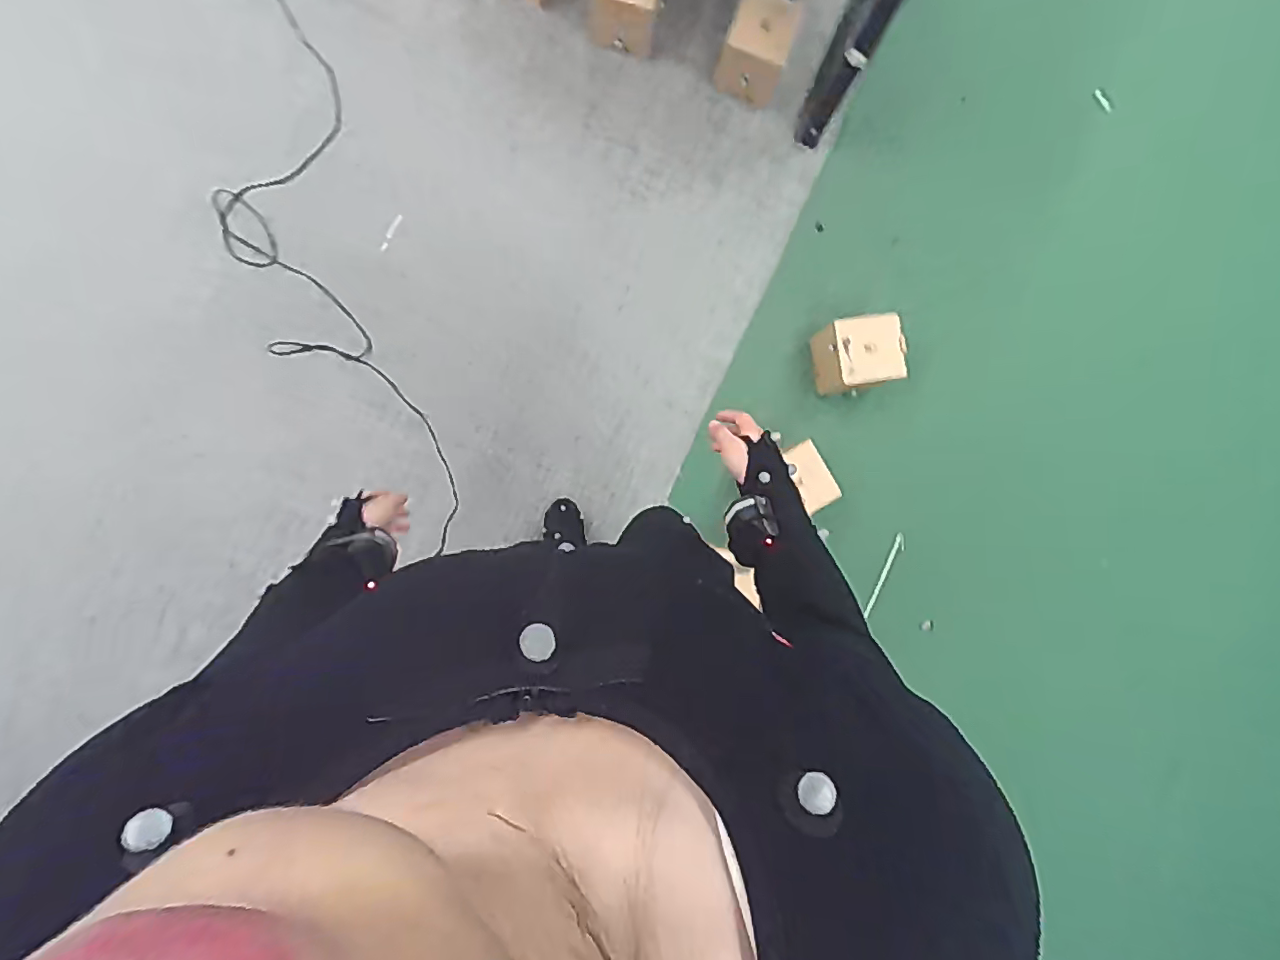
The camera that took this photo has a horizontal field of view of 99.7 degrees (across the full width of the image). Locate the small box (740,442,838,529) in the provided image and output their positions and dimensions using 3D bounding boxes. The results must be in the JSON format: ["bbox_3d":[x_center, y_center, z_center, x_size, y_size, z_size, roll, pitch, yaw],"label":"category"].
[{"bbox_3d":[0.385,0.017,1.442,0.179,0.176,0.168,-31,92,-5],"label":"small box"}]

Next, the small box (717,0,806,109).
[{"bbox_3d":[0.319,-1.159,1.463,0.168,0.176,0.179,20,87,-4],"label":"small box"}]

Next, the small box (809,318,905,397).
[{"bbox_3d":[0.582,-0.327,1.465,0.179,0.176,0.168,-7,89,-5],"label":"small box"}]

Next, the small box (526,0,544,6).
[{"bbox_3d":[-0.305,-1.426,1.430,0.168,0.176,0.179,29,86,-3],"label":"small box"}]
